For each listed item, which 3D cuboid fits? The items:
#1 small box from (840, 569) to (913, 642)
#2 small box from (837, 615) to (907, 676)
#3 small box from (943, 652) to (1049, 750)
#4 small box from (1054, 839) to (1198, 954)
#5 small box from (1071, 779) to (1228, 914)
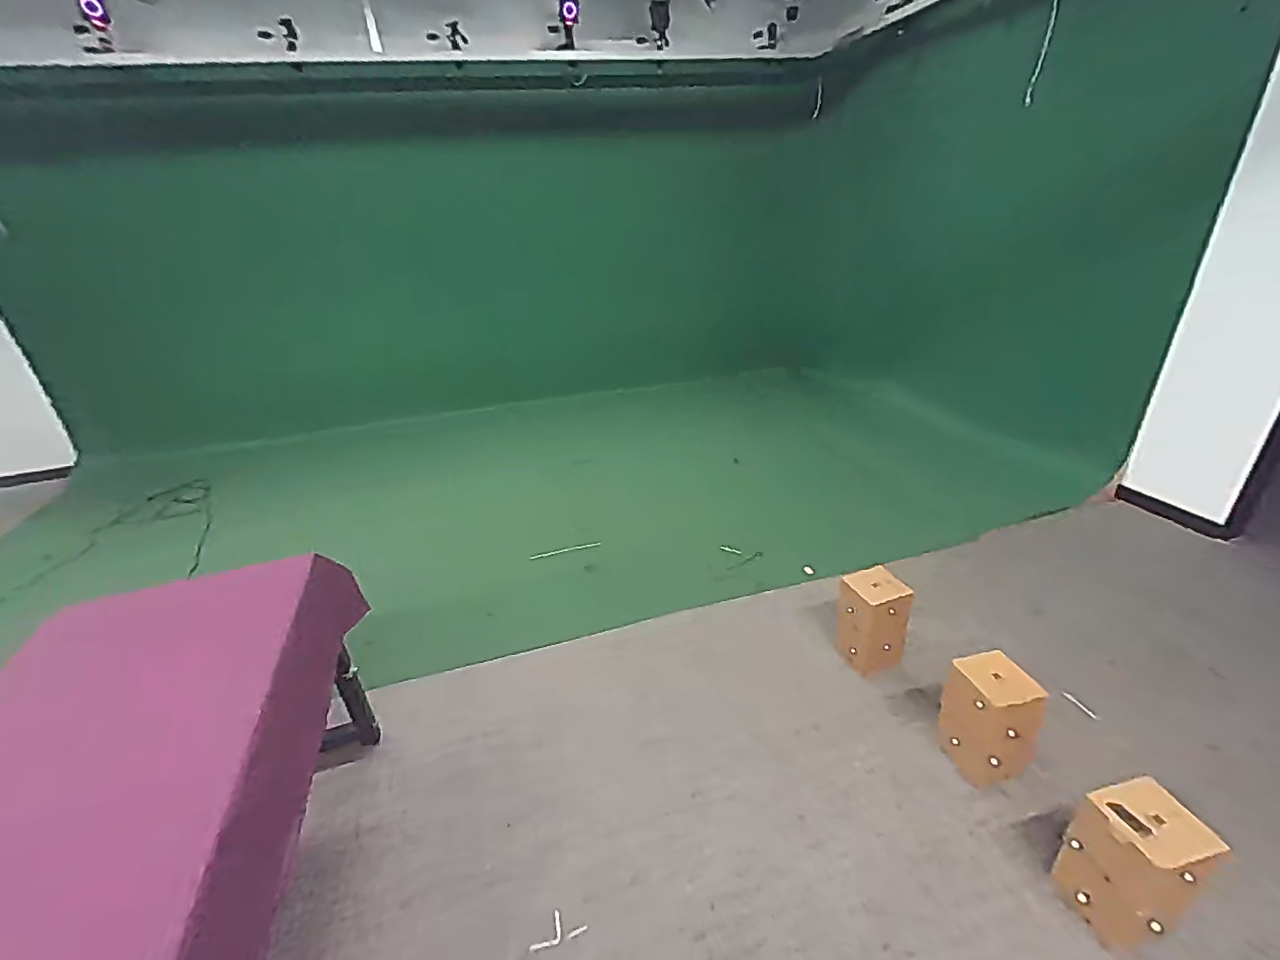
[{"bbox_3d":[0.828,0.444,1.911,0.179,0.176,0.168,-12,29,-15],"label":"small box"},{"bbox_3d":[0.842,0.591,1.984,0.179,0.176,0.168,-11,28,-14],"label":"small box"},{"bbox_3d":[0.994,0.623,1.529,0.168,0.176,0.179,-9,27,-9],"label":"small box"},{"bbox_3d":[1.102,0.941,1.247,0.179,0.176,0.168,-10,28,-10],"label":"small box"},{"bbox_3d":[1.086,0.793,1.173,0.179,0.176,0.168,-8,27,-9],"label":"small box"}]
